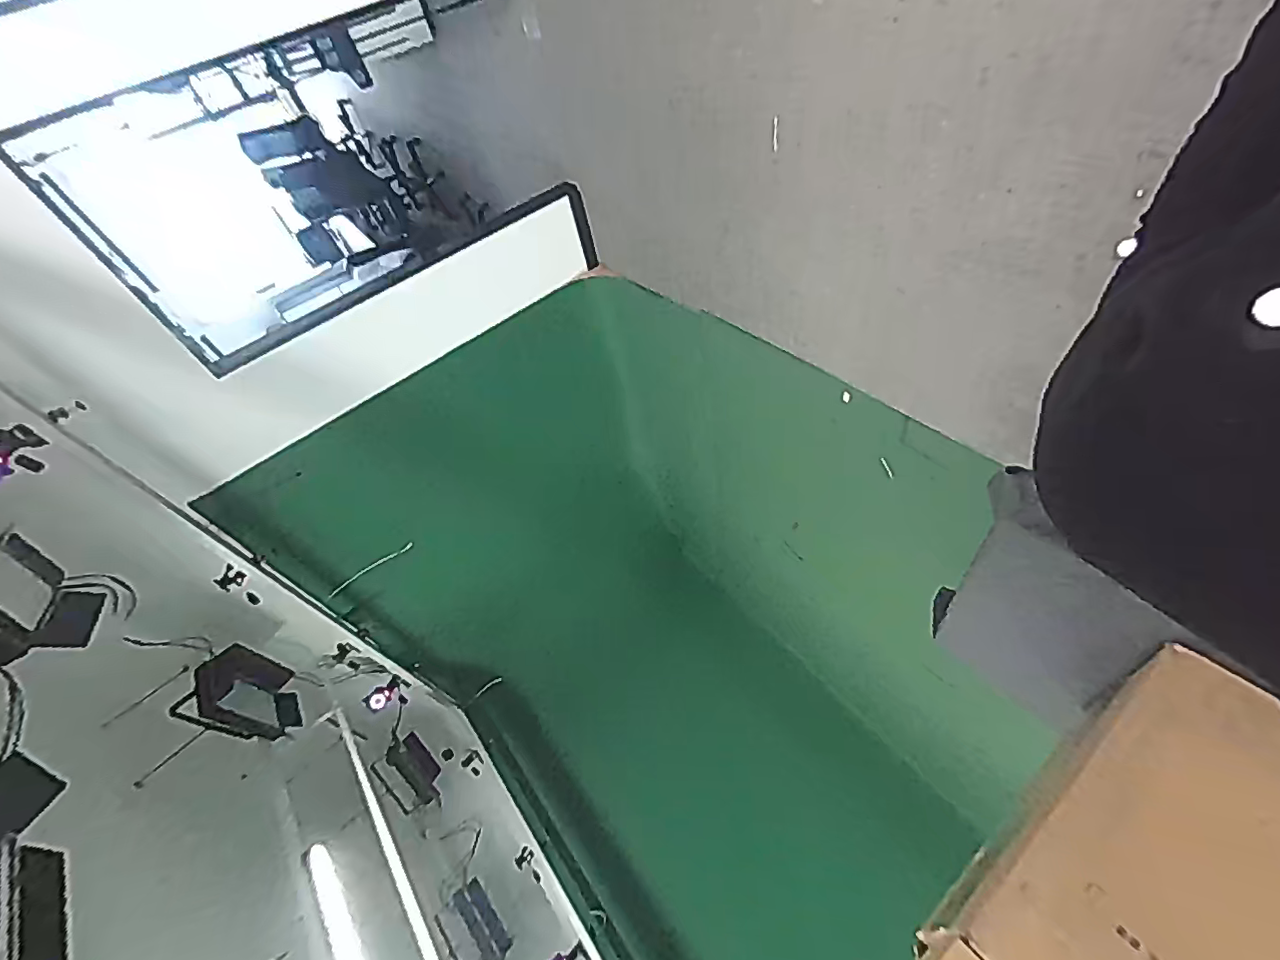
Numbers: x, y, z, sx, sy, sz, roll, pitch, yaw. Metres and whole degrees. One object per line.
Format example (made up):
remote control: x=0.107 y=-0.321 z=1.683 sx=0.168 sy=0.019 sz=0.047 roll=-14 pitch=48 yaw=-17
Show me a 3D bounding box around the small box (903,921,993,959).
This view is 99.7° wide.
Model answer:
small box: x=0.454 y=0.772 z=0.765 sx=0.168 sy=0.176 sz=0.179 roll=40 pitch=158 yaw=38
